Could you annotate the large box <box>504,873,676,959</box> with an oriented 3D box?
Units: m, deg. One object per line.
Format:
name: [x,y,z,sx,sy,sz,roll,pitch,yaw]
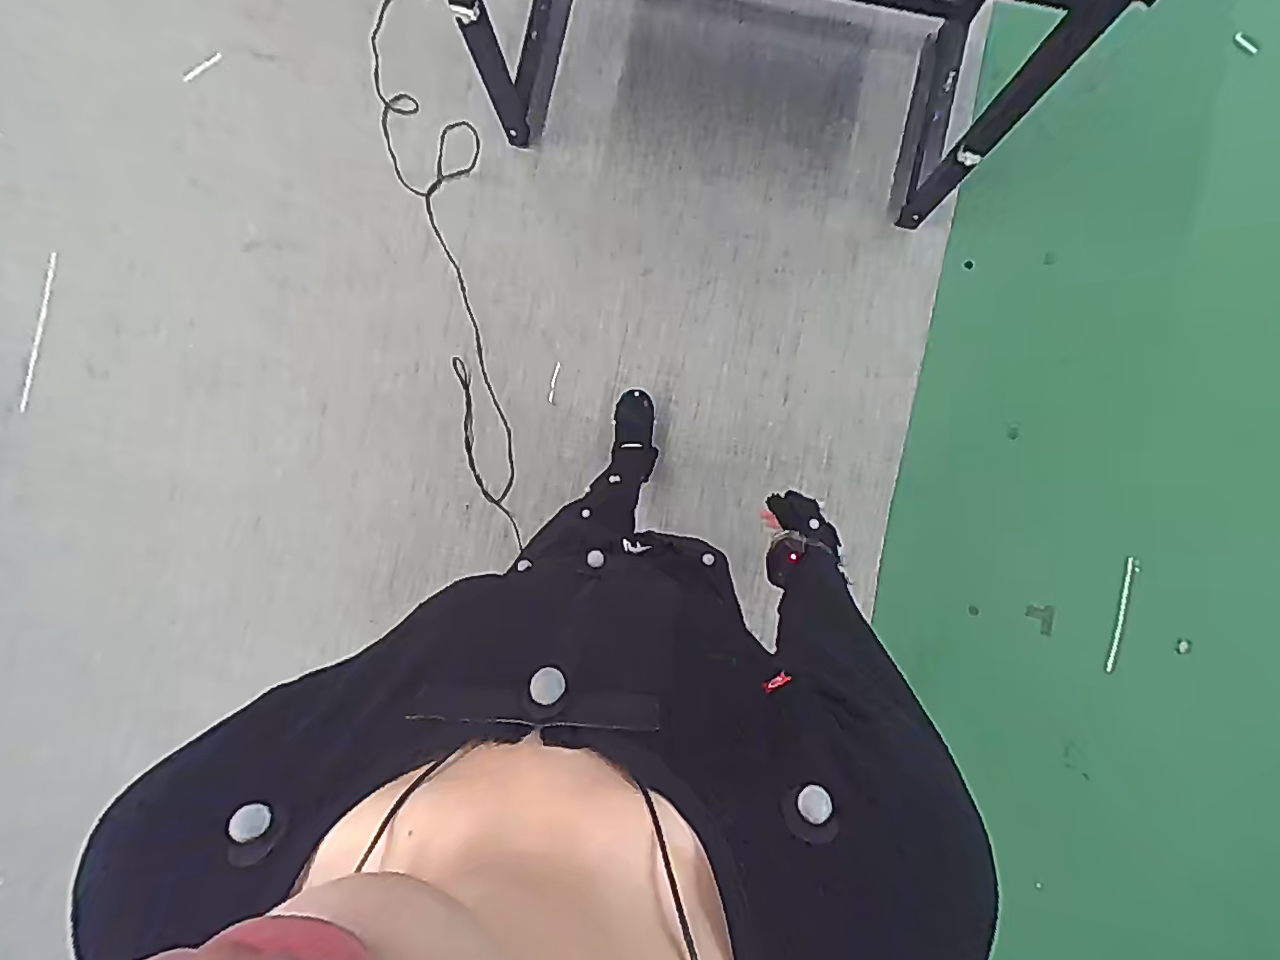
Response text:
large box: [-0.140,1.255,1.331,0.408,0.320,0.320,13,89,0]
